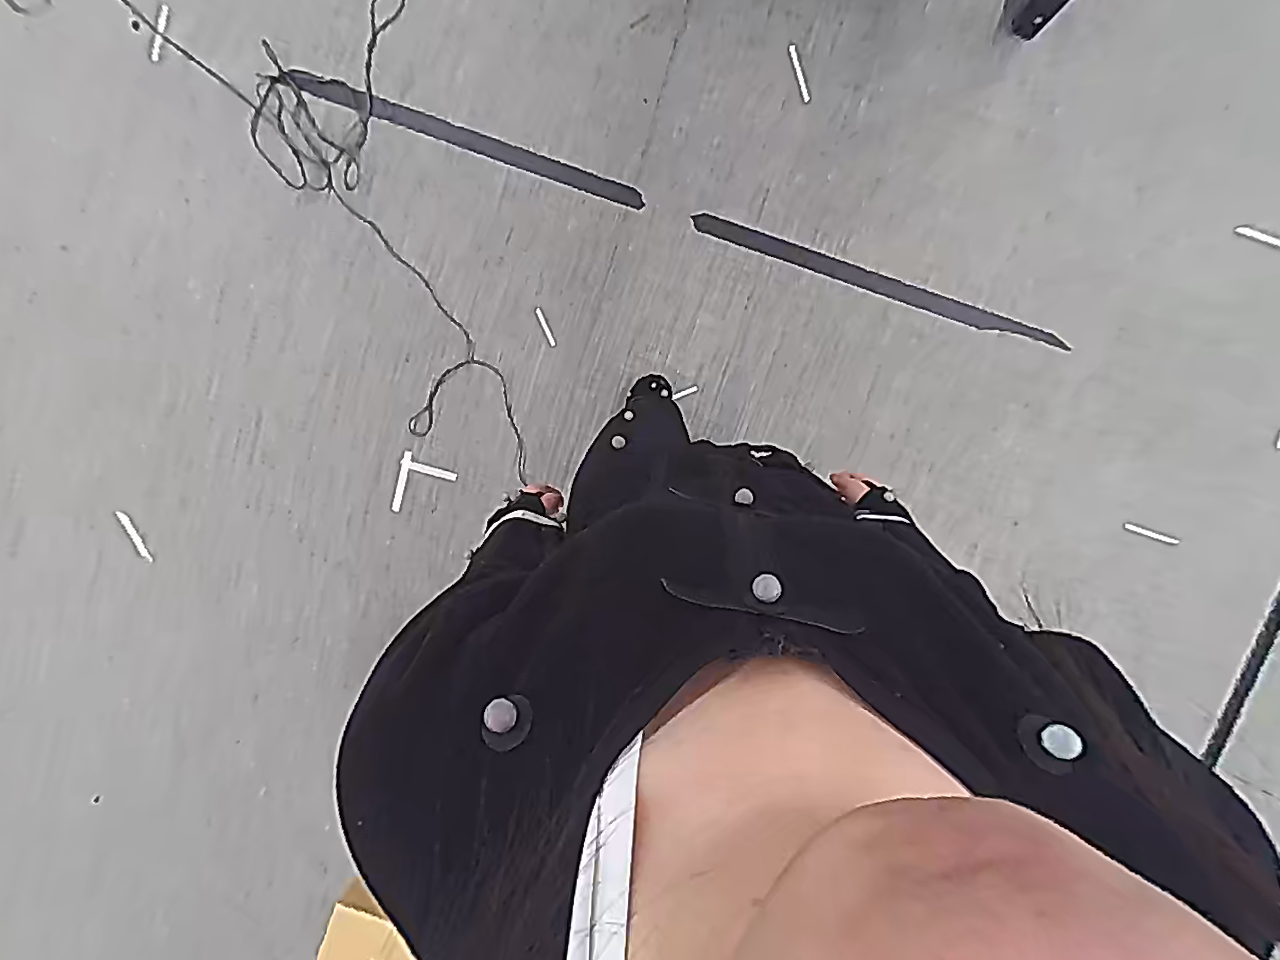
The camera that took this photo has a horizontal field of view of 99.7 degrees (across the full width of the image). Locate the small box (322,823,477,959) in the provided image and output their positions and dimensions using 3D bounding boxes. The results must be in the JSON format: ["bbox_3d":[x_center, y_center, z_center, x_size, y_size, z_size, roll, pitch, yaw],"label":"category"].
[{"bbox_3d":[-0.376,0.693,0.855,0.168,0.176,0.179,21,97,-2],"label":"small box"}]
